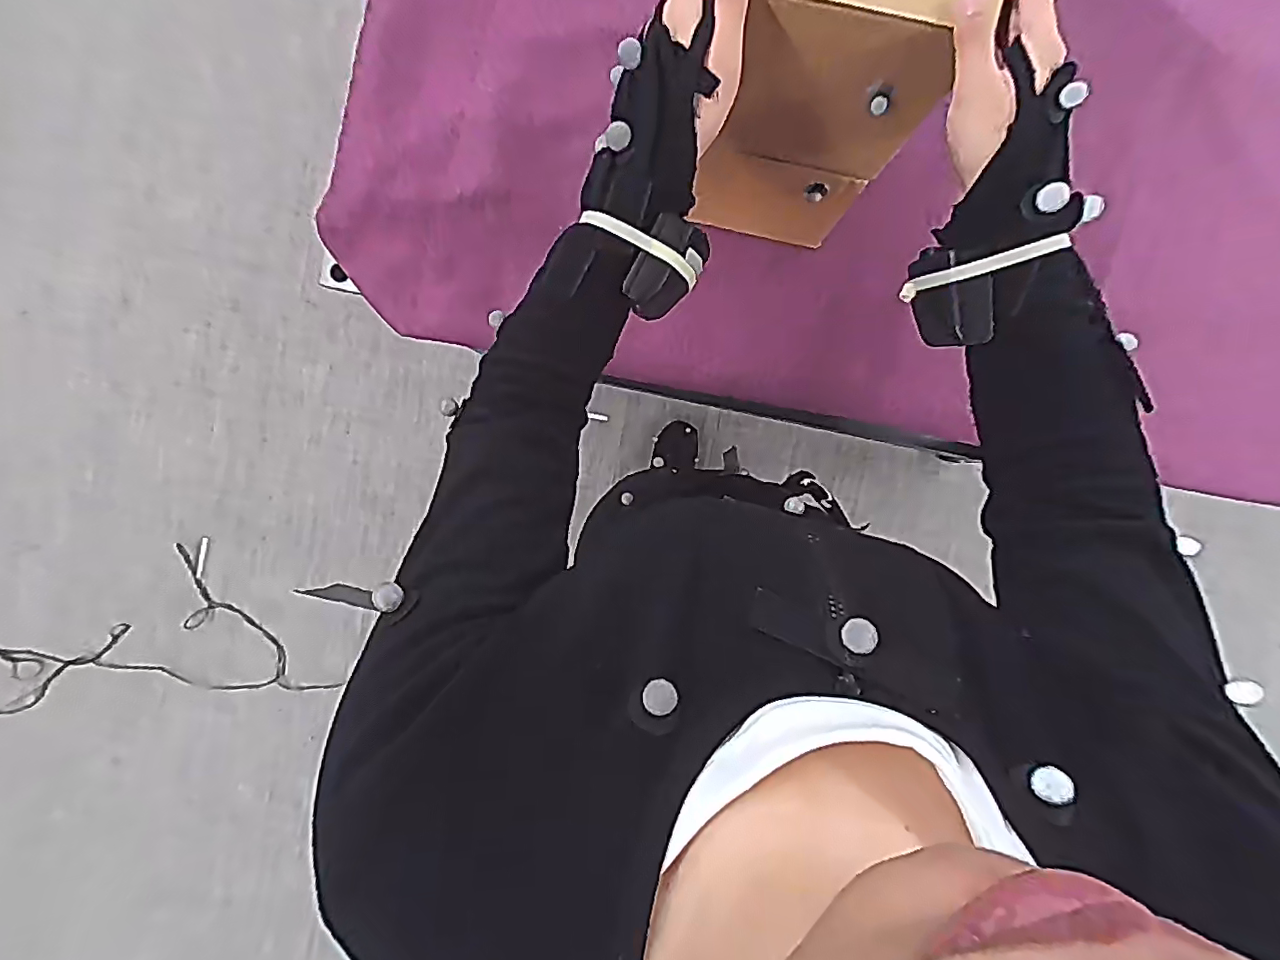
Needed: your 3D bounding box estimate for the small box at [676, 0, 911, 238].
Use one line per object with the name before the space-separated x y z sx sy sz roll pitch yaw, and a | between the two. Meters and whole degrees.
small box | 0.138 -0.373 0.554 0.179 0.176 0.168 12 93 0
